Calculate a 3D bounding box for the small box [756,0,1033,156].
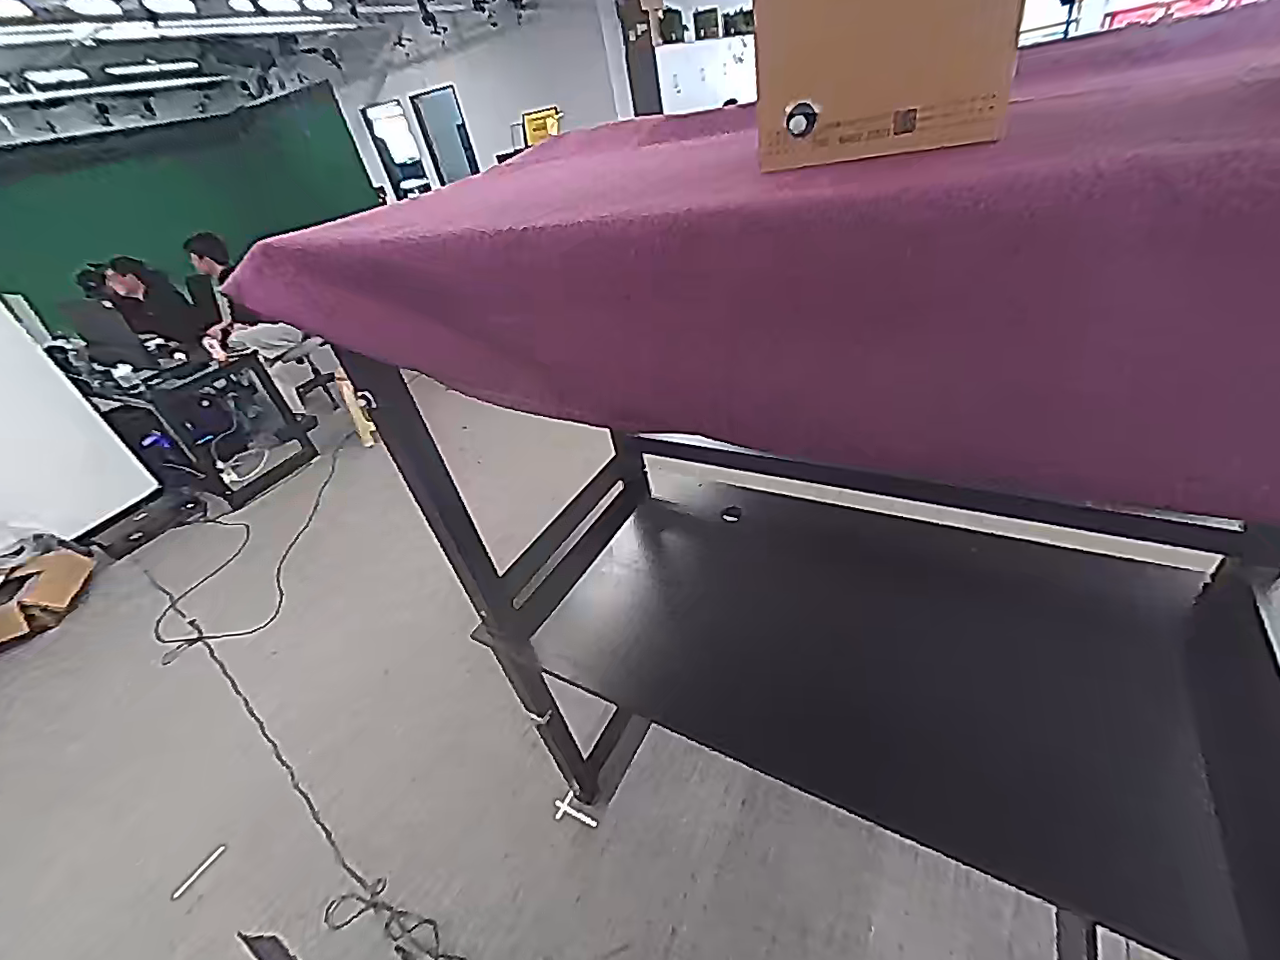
[{"bbox_3d":[0.187,-0.350,0.394,0.168,0.176,0.179,8,39,26],"label":"small box"}]
